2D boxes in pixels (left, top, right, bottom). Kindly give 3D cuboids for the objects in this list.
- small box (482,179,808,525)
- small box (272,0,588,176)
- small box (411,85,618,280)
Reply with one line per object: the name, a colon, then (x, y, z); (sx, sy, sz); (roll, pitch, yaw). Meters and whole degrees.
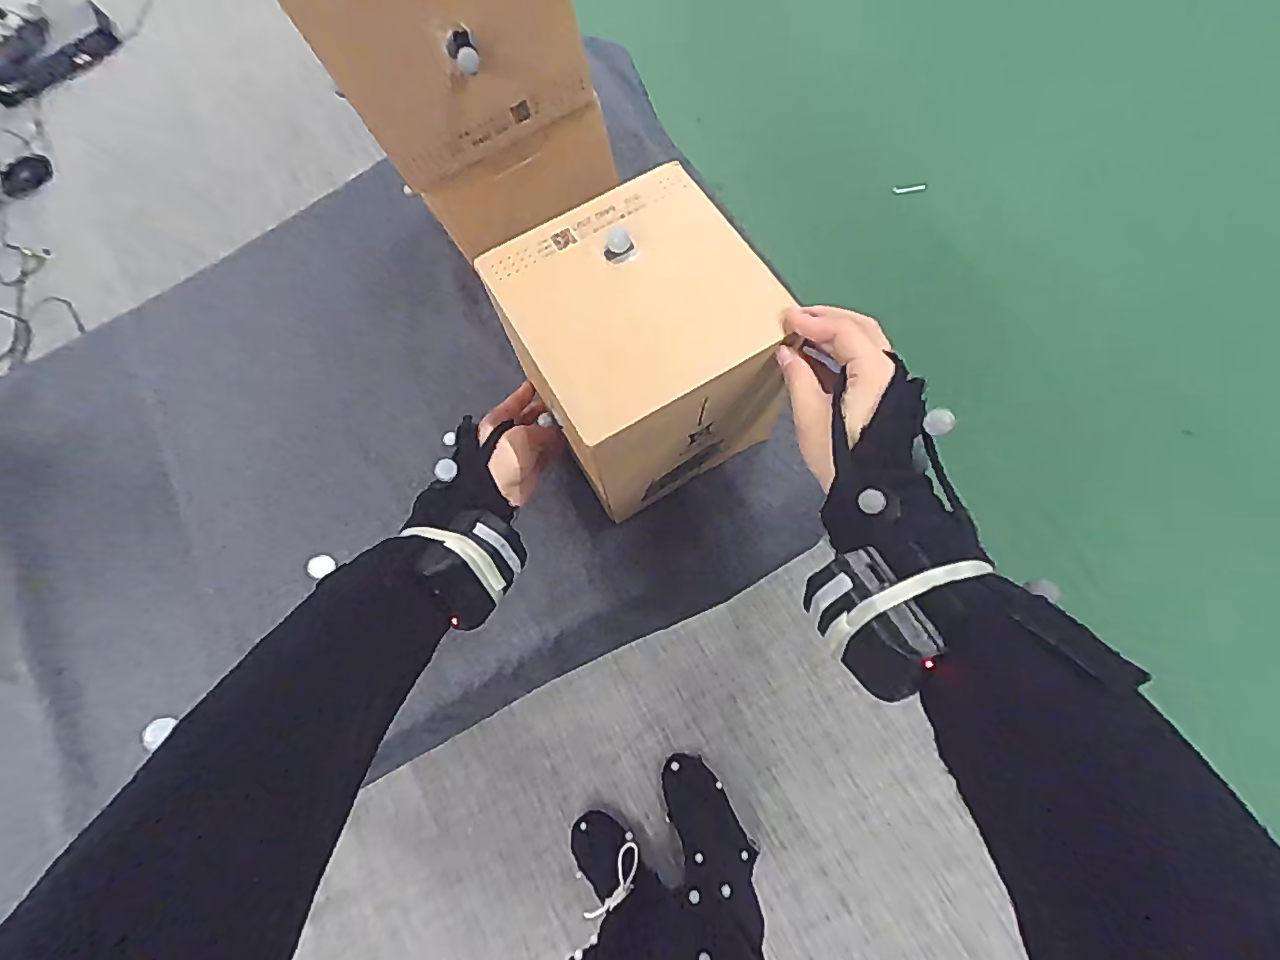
small box: (0.000, -0.092, 0.435); (0.168, 0.179, 0.176); (-30, 71, -8)
small box: (-0.154, -0.353, 0.378); (0.168, 0.176, 0.179); (-27, 74, 0)
small box: (-0.132, -0.317, 0.537); (0.168, 0.176, 0.179); (-28, 74, 0)
